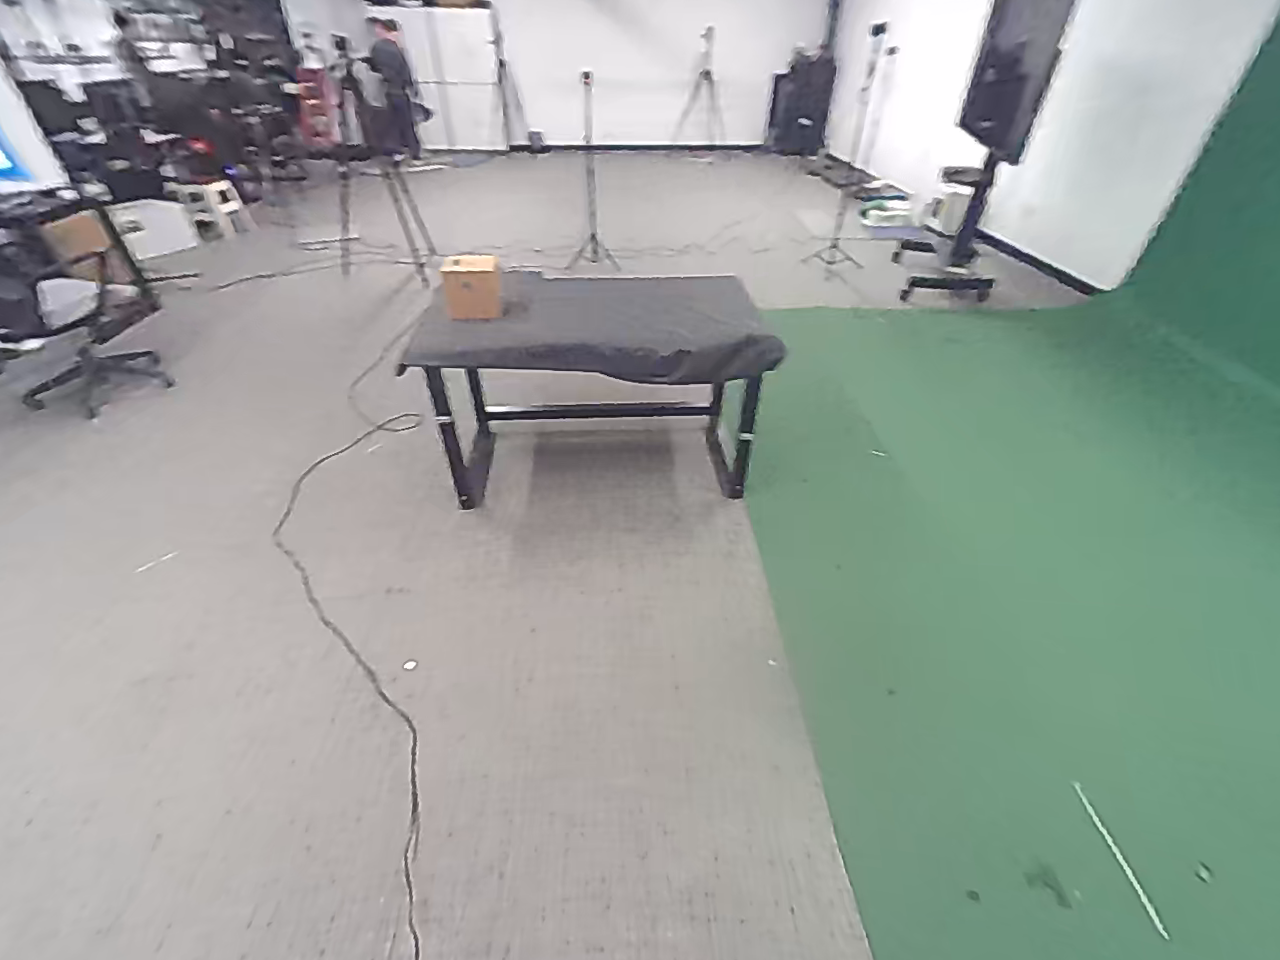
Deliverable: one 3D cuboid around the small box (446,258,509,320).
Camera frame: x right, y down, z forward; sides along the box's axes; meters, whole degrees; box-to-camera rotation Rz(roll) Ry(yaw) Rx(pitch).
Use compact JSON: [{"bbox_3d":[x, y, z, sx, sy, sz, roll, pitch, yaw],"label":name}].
[{"bbox_3d":[-0.572,-0.679,1.922,0.179,0.176,0.168,-2,39,-5],"label":"small box"}]
